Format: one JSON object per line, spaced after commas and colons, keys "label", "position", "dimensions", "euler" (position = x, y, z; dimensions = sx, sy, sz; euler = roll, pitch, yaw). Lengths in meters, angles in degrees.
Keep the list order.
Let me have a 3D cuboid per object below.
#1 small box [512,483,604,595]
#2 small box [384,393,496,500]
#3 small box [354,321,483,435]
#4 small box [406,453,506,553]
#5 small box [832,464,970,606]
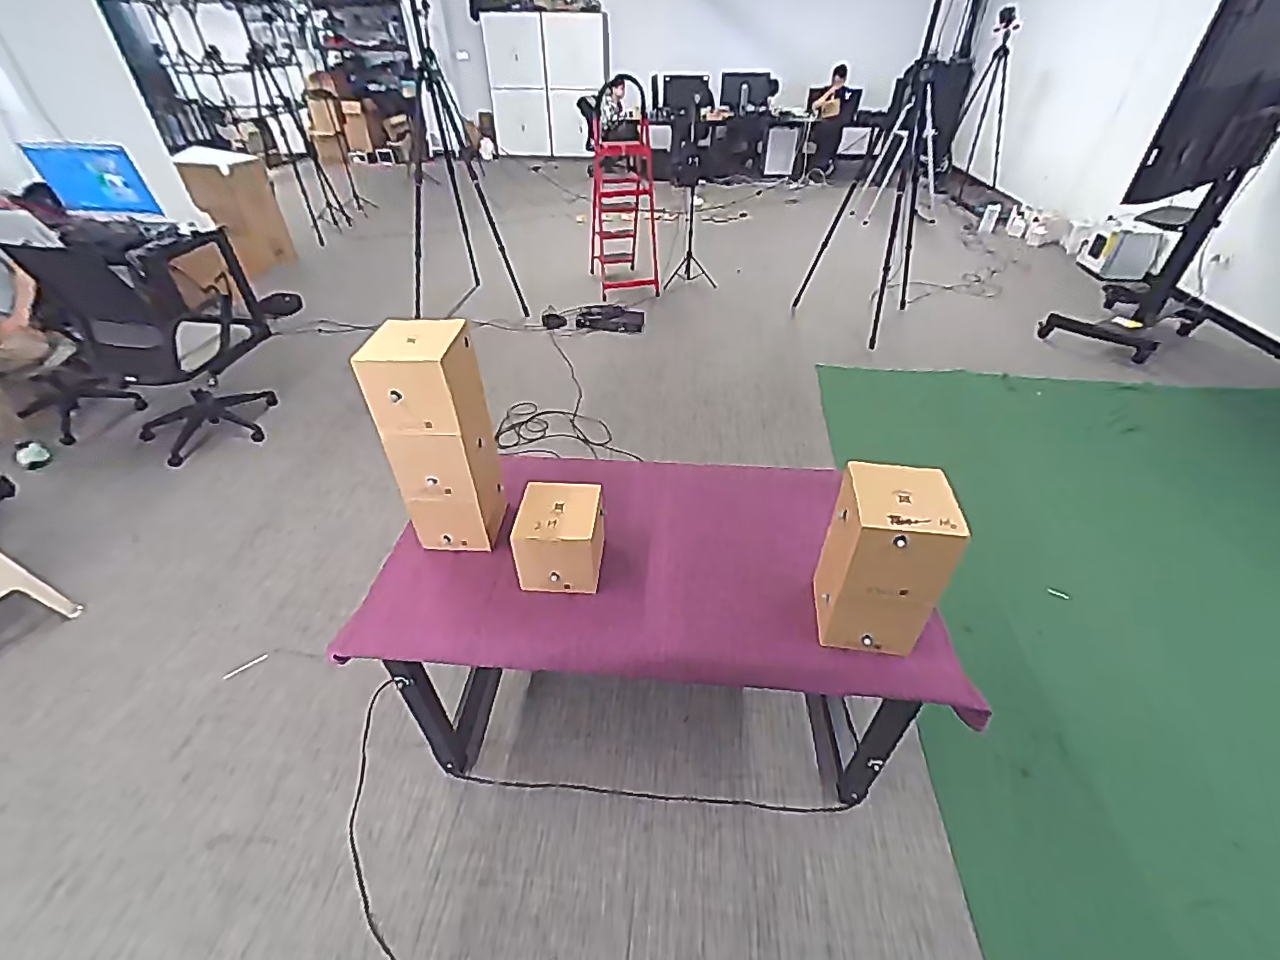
{"label": "small box", "position": [-0.170, 0.127, 1.188], "dimensions": [0.168, 0.176, 0.179], "euler": [2, 40, 4]}
{"label": "small box", "position": [-0.423, -0.076, 1.178], "dimensions": [0.168, 0.176, 0.179], "euler": [1, 40, 2]}
{"label": "small box", "position": [-0.425, -0.200, 1.074], "dimensions": [0.168, 0.176, 0.179], "euler": [0, 39, 2]}
{"label": "small box", "position": [-0.423, 0.051, 1.282], "dimensions": [0.168, 0.176, 0.179], "euler": [1, 40, 2]}
{"label": "small box", "position": [0.446, 0.095, 0.961], "dimensions": [0.168, 0.176, 0.179], "euler": [5, 39, 9]}
